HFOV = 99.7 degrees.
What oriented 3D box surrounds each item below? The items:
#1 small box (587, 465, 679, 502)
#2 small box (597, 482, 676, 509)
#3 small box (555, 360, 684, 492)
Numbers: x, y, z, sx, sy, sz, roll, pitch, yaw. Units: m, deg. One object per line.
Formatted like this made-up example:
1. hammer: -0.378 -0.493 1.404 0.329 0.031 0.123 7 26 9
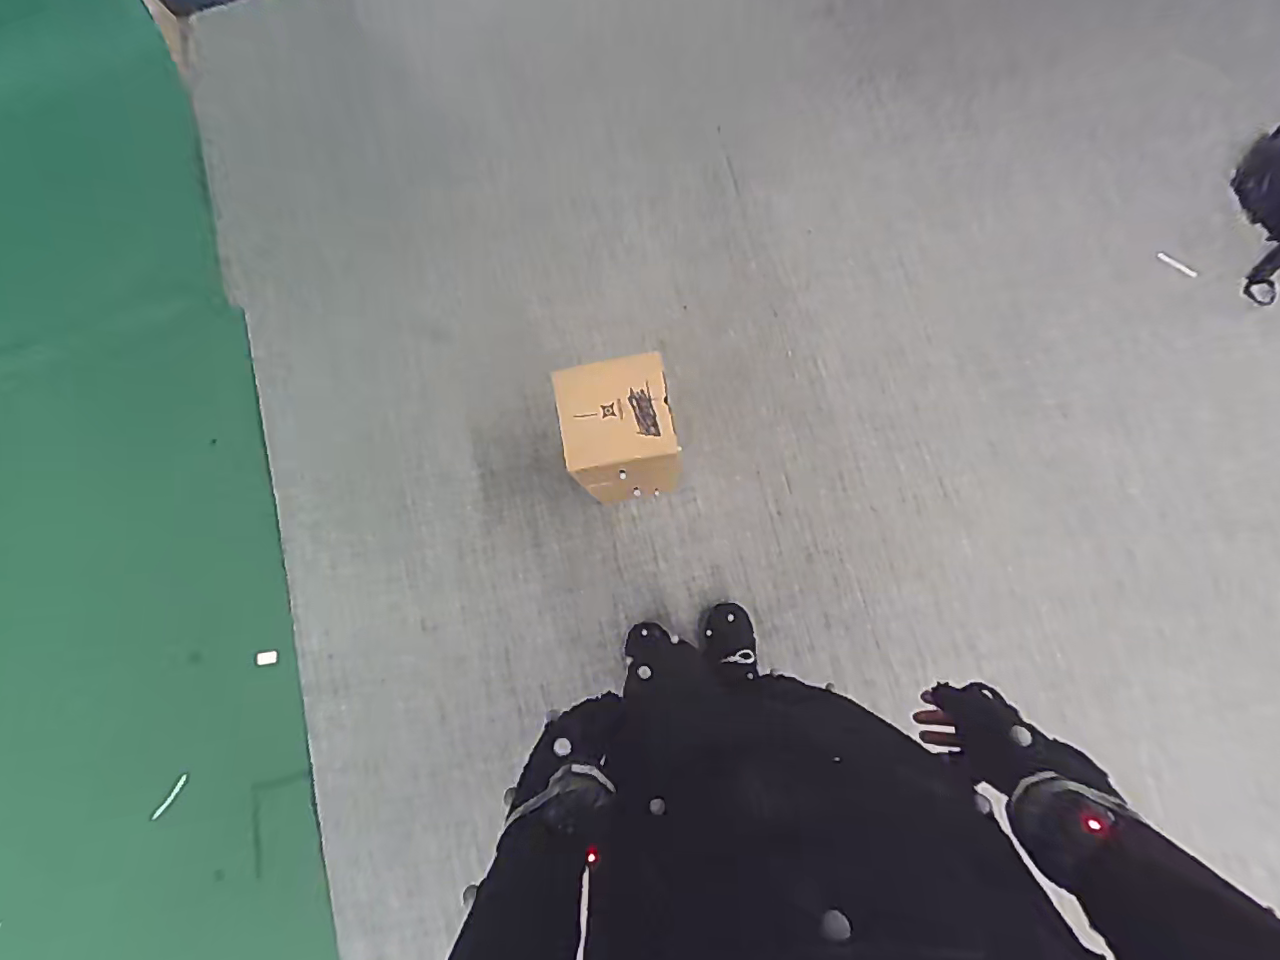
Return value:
1. small box: -0.026 -0.057 1.085 0.179 0.176 0.168 -12 81 1
2. small box: -0.021 -0.035 1.247 0.179 0.176 0.168 -14 81 2
3. small box: -0.033 -0.083 0.922 0.179 0.176 0.168 -14 81 0
